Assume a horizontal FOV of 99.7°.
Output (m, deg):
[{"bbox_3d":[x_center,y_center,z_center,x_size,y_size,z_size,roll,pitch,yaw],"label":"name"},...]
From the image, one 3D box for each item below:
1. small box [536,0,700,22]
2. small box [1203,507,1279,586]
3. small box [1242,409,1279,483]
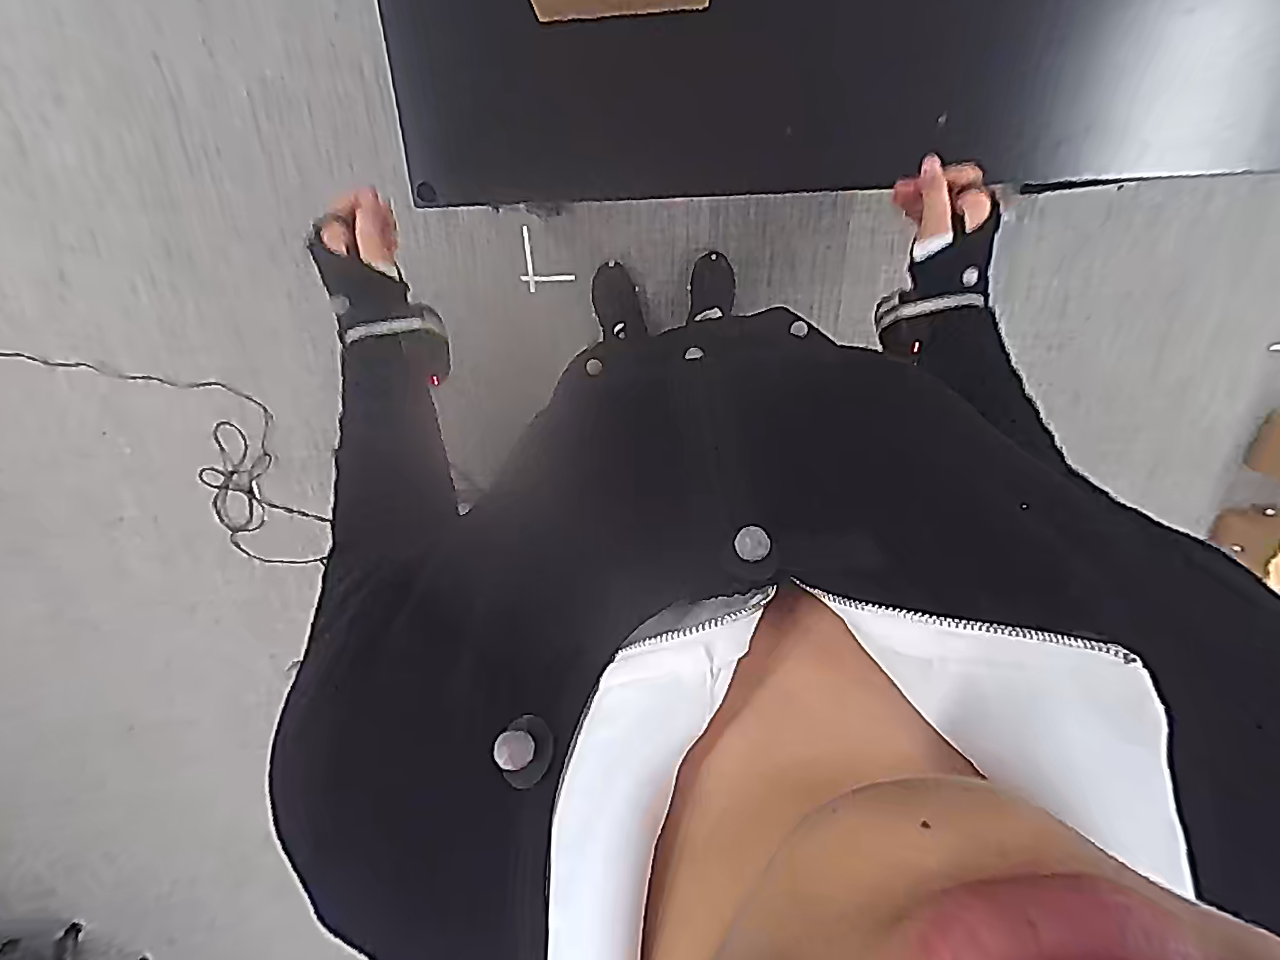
[{"bbox_3d":[-0.022,-0.525,0.461,0.179,0.176,0.168,-4,114,1],"label":"small box"},{"bbox_3d":[1.816,0.189,1.568,0.179,0.176,0.168,-4,114,3],"label":"small box"},{"bbox_3d":[1.796,-0.081,1.445,0.168,0.176,0.179,0,114,0],"label":"small box"}]
